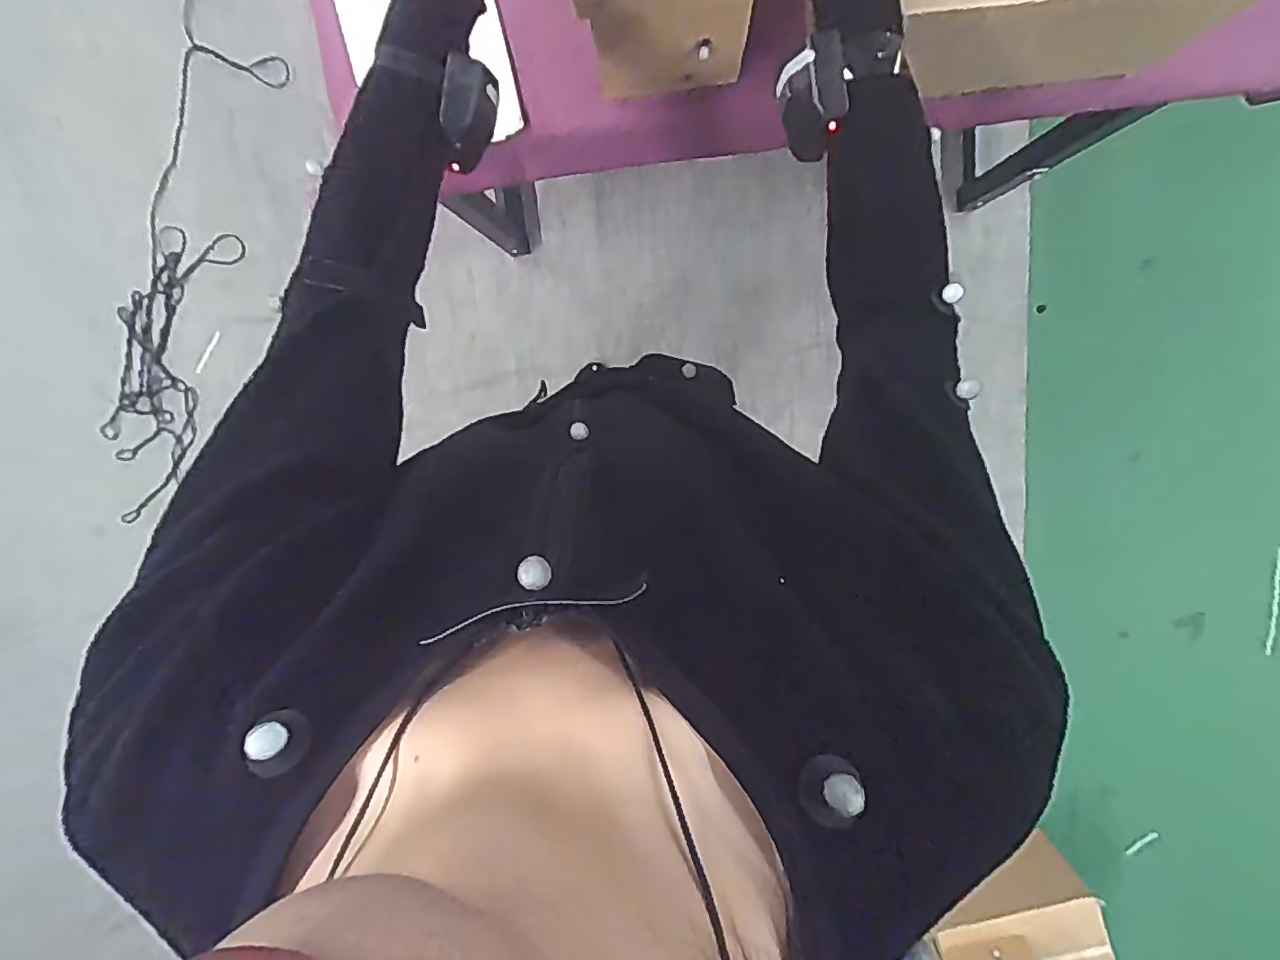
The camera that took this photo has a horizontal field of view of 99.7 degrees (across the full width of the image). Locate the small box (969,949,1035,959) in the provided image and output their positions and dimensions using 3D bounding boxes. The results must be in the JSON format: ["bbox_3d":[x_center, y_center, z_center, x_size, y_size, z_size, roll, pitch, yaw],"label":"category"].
[{"bbox_3d":[0.899,1.273,1.284,0.179,0.176,0.168,-15,98,6],"label":"small box"}]

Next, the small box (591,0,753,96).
[{"bbox_3d":[0.031,-0.554,0.591,0.168,0.176,0.179,-4,99,4],"label":"small box"}]

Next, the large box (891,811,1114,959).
[{"bbox_3d":[1.000,1.220,1.519,0.408,0.320,0.320,-20,99,6],"label":"large box"}]
